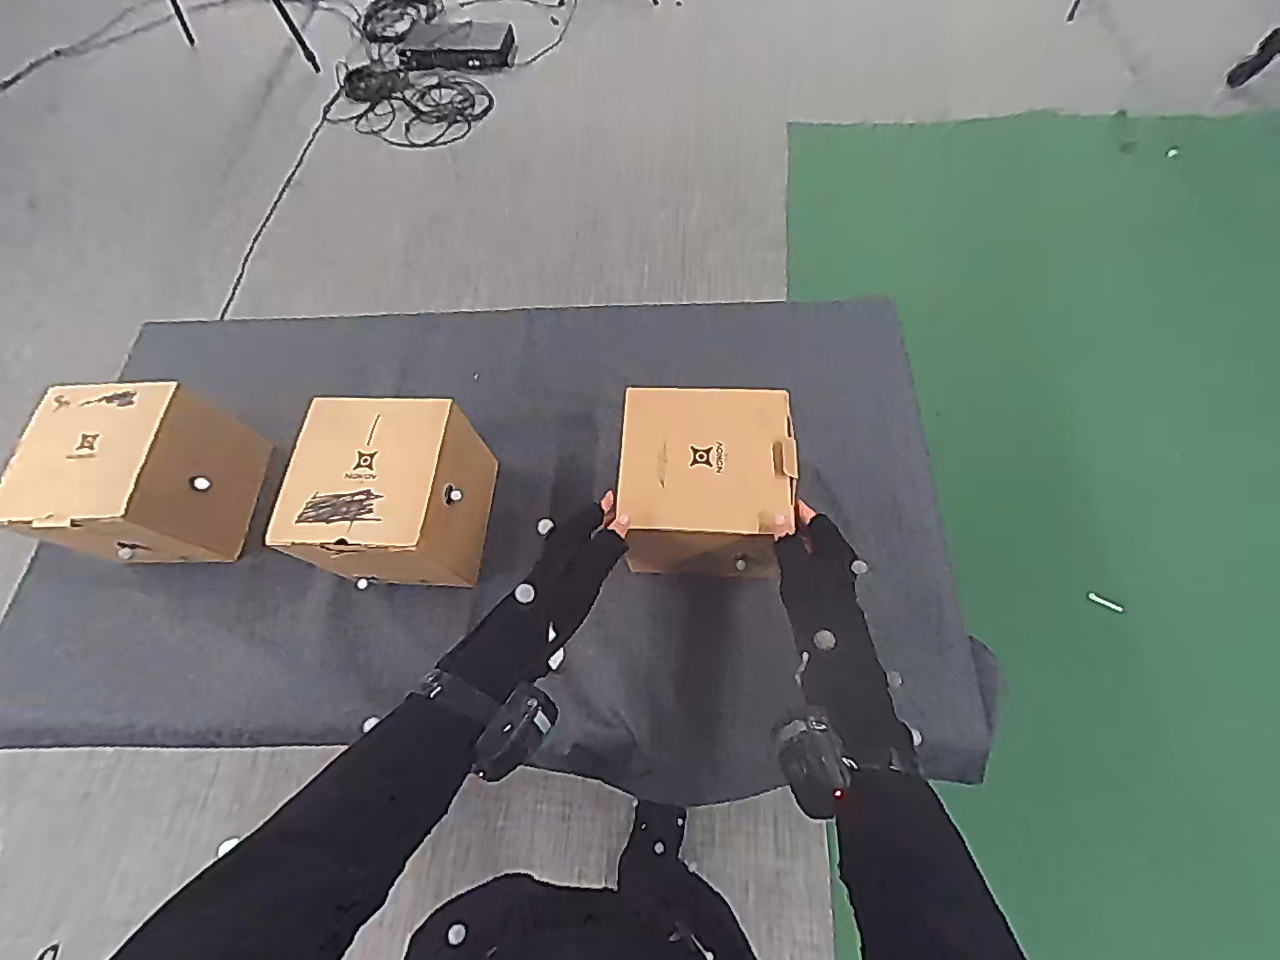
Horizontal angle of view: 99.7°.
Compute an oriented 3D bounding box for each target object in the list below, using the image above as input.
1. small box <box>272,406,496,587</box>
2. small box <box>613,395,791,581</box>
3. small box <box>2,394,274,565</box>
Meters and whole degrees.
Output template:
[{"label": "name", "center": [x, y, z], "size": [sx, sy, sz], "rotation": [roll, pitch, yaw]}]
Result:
[{"label": "small box", "center": [-0.289, 0.028, 0.657], "size": [0.168, 0.176, 0.179], "rotation": [1, 65, 6]}, {"label": "small box", "center": [0.071, 0.016, 0.631], "size": [0.179, 0.176, 0.168], "rotation": [0, 65, 7]}, {"label": "small box", "center": [-0.618, 0.009, 0.696], "size": [0.168, 0.176, 0.179], "rotation": [-2, 67, 4]}]
